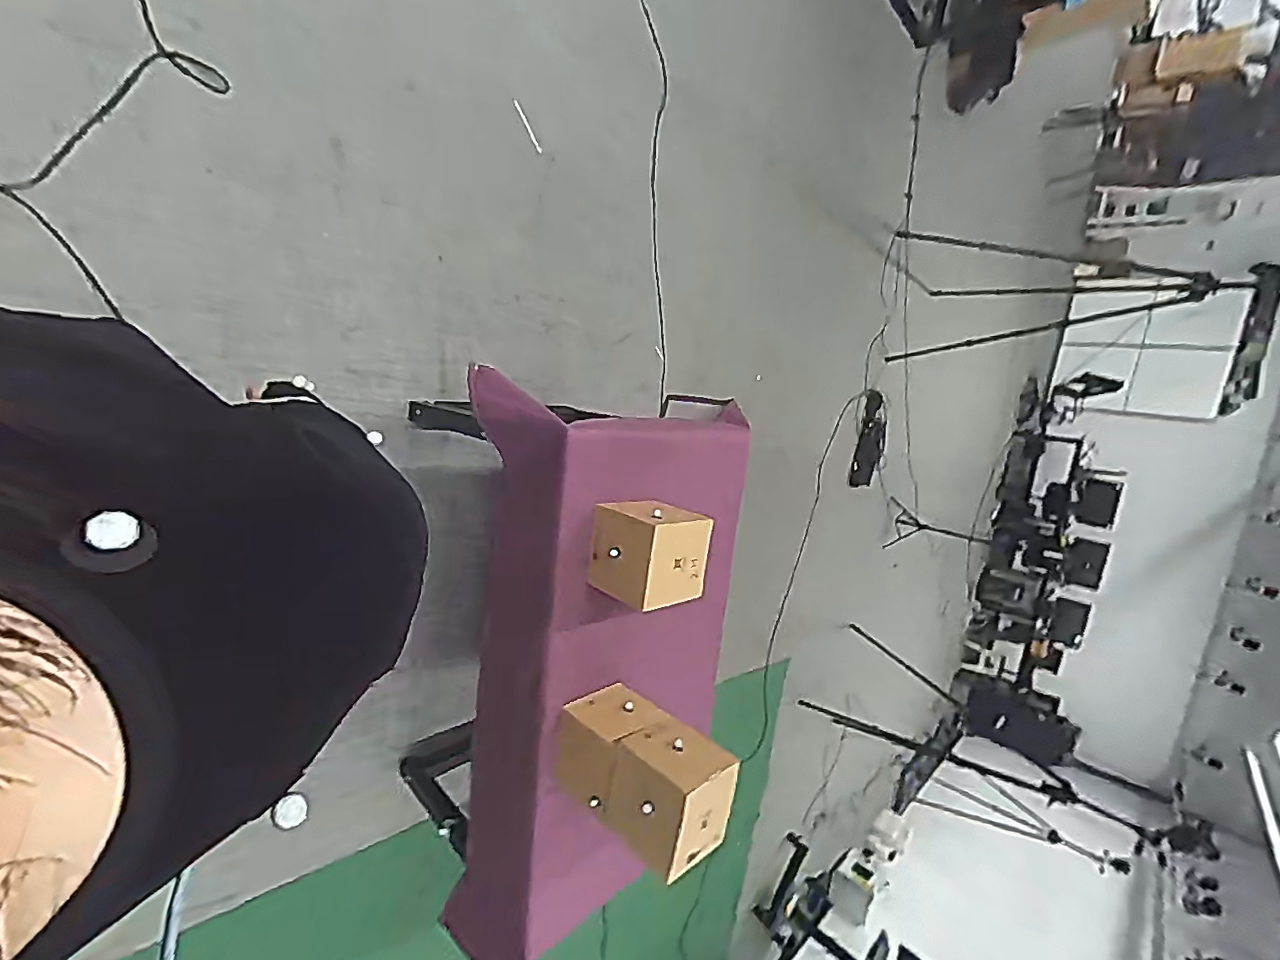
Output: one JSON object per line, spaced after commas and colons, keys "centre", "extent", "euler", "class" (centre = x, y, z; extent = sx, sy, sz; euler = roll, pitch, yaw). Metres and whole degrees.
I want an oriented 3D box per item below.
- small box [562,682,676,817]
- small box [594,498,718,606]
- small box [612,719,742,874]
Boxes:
{"centre": [-0.048, 0.552, 1.144], "extent": [0.168, 0.176, 0.179], "euler": [-3, 105, -45], "class": "small box"}
{"centre": [0.028, 0.135, 1.088], "extent": [0.179, 0.176, 0.168], "euler": [-1, 104, -46], "class": "small box"}
{"centre": [0.066, 0.581, 1.028], "extent": [0.168, 0.176, 0.179], "euler": [4, 99, -46], "class": "small box"}
